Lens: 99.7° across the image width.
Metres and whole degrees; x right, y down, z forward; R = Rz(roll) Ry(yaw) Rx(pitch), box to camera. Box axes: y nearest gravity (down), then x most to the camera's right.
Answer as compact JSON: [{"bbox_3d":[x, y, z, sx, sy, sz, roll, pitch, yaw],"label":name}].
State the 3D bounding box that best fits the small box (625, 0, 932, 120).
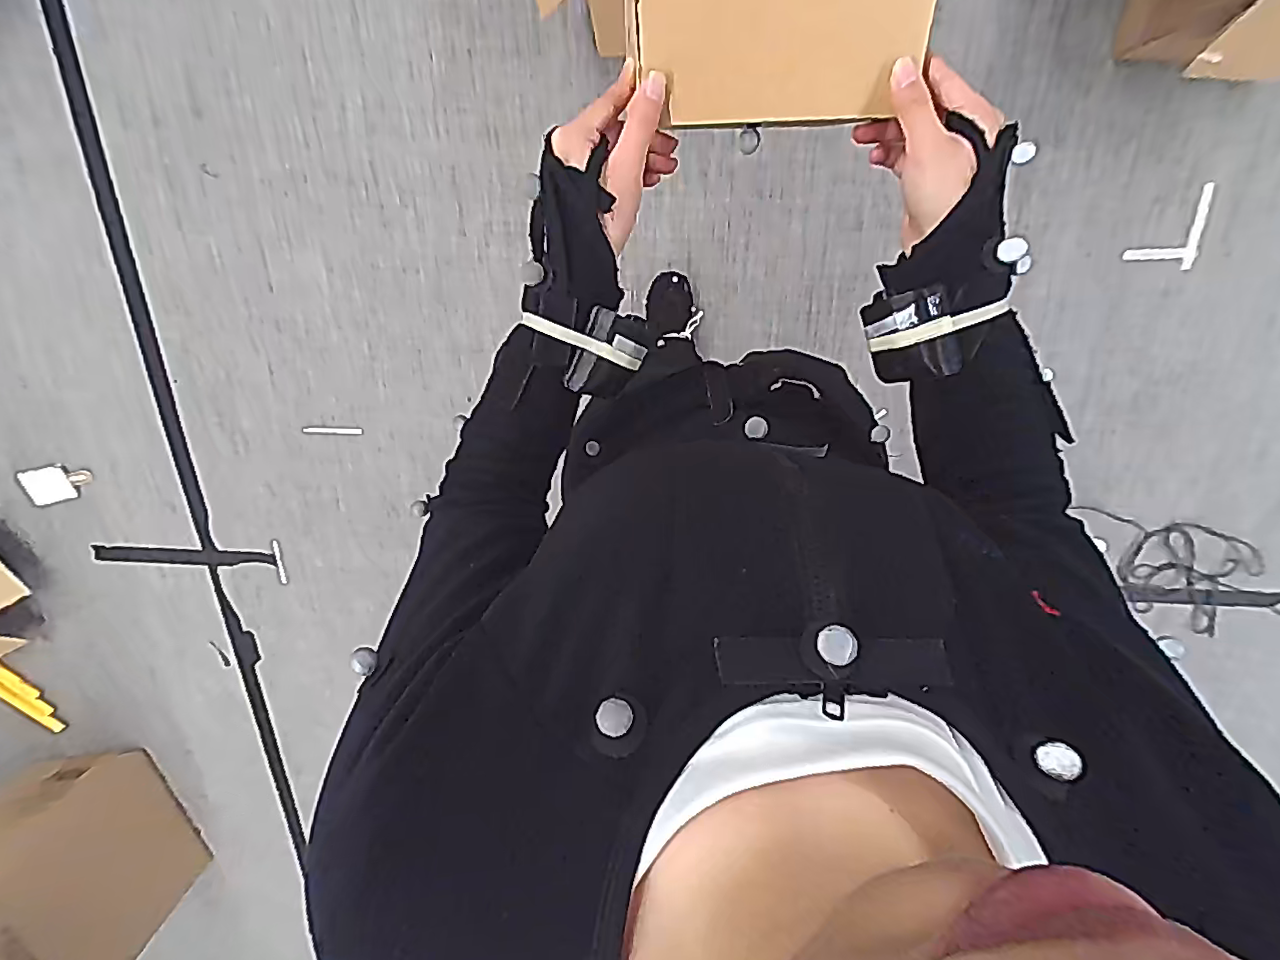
[{"bbox_3d":[0.079,-0.344,0.362,0.179,0.176,0.168,-2,123,0],"label":"small box"}]
